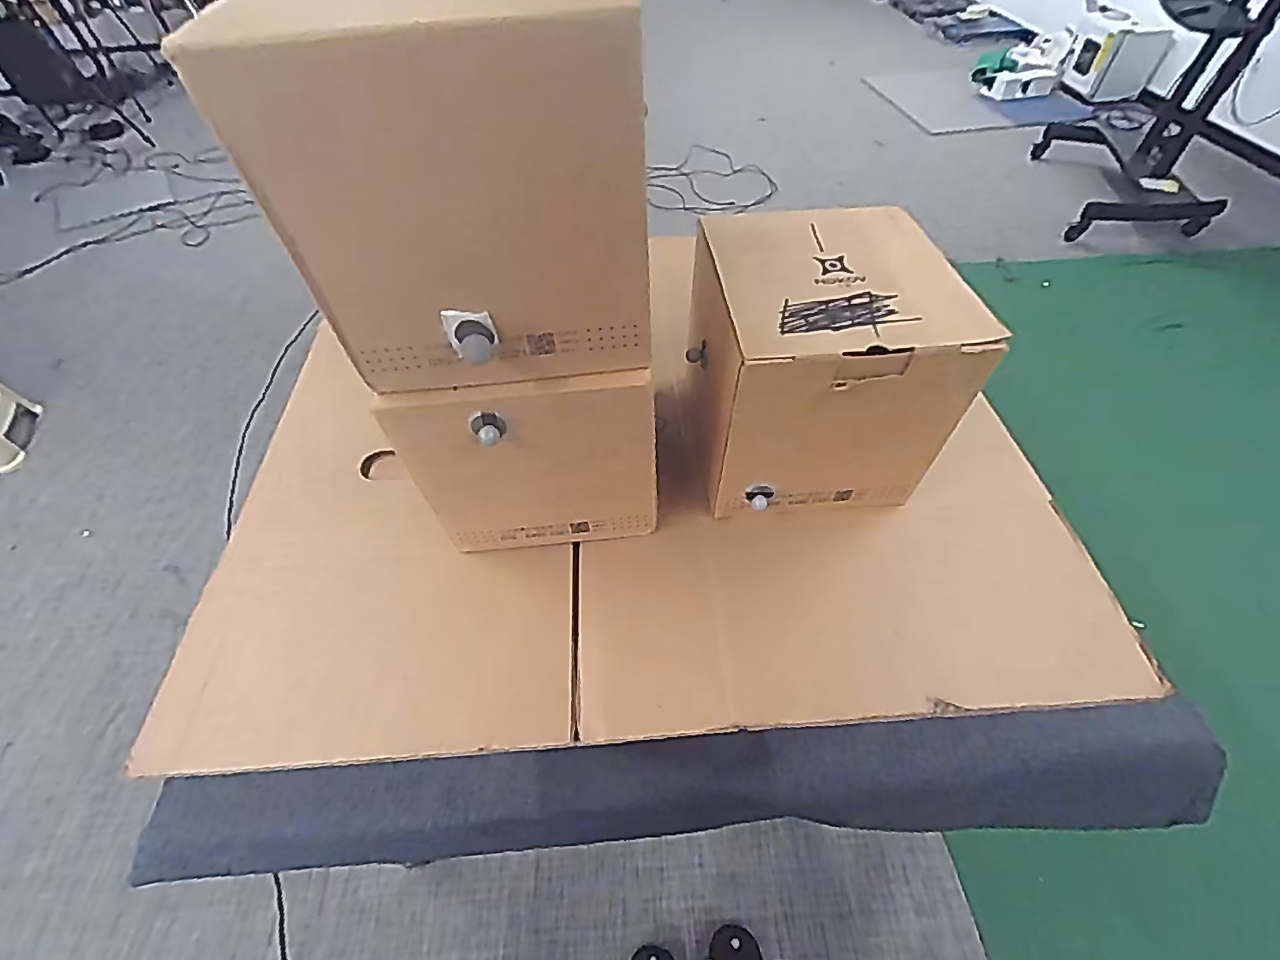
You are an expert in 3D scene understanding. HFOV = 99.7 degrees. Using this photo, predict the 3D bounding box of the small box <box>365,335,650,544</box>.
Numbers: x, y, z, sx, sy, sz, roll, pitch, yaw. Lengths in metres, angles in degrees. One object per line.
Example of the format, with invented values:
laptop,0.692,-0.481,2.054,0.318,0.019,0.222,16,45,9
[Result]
small box,-0.082,-0.070,0.430,0.168,0.176,0.179,-6,52,0

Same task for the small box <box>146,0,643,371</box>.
small box,-0.090,-0.184,0.293,0.168,0.176,0.179,-8,54,-2
